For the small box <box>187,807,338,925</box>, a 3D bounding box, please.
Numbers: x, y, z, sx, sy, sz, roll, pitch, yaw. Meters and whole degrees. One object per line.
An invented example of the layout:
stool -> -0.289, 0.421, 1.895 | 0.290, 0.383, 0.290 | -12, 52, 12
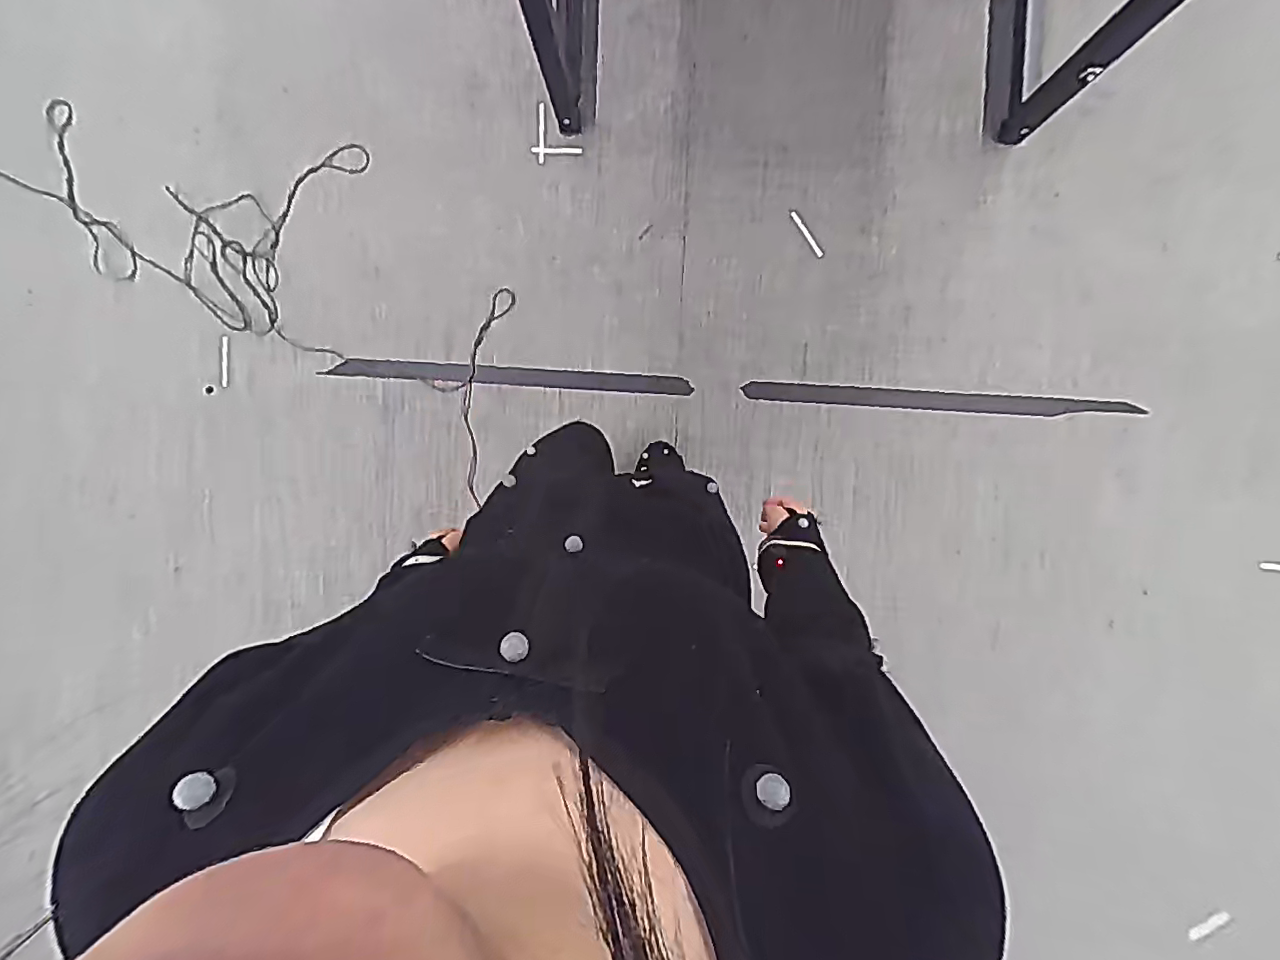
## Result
small box -> -0.810, 0.870, 1.177 | 0.179, 0.176, 0.168 | -39, 91, 3
